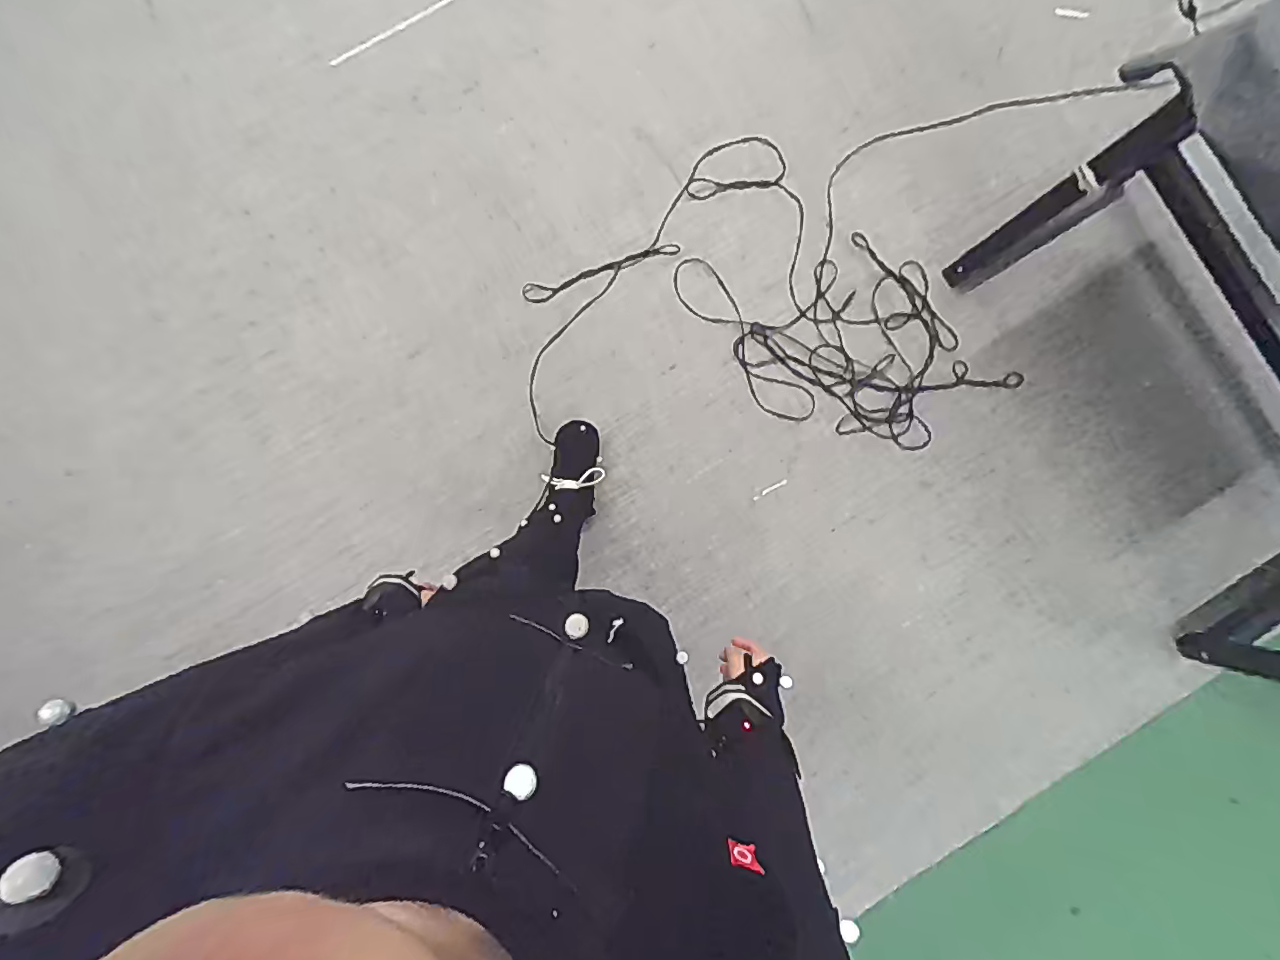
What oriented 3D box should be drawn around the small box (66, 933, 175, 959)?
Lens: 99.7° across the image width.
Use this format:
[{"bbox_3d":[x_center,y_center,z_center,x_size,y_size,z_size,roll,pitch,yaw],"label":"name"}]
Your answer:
[{"bbox_3d":[-0.765,0.768,0.731,0.168,0.176,0.179,-20,88,-2],"label":"small box"}]
